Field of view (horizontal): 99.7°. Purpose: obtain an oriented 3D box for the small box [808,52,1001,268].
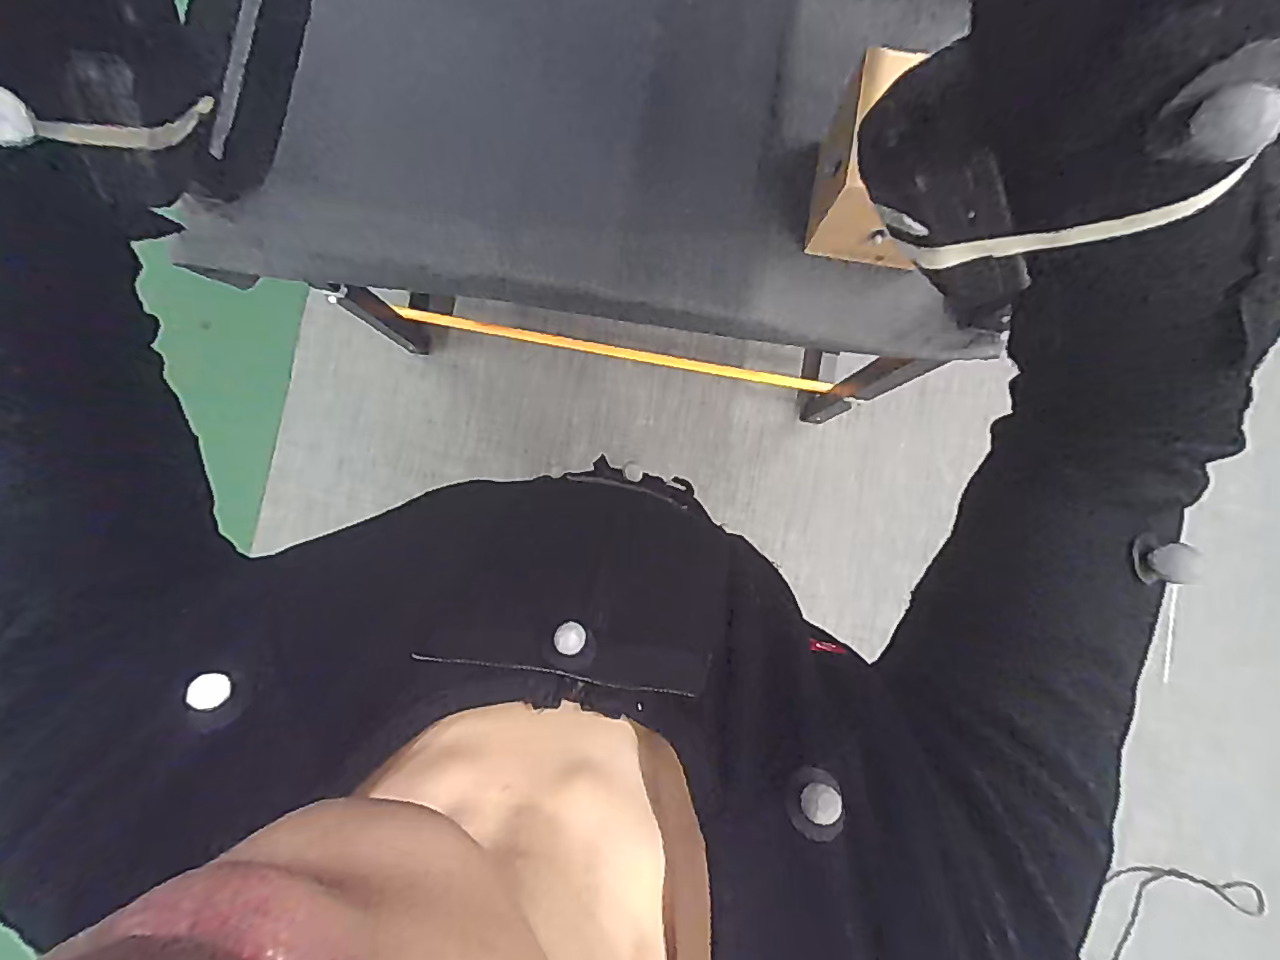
[{"bbox_3d":[0.334,-0.406,0.716,0.168,0.176,0.179,10,86,1],"label":"small box"}]
